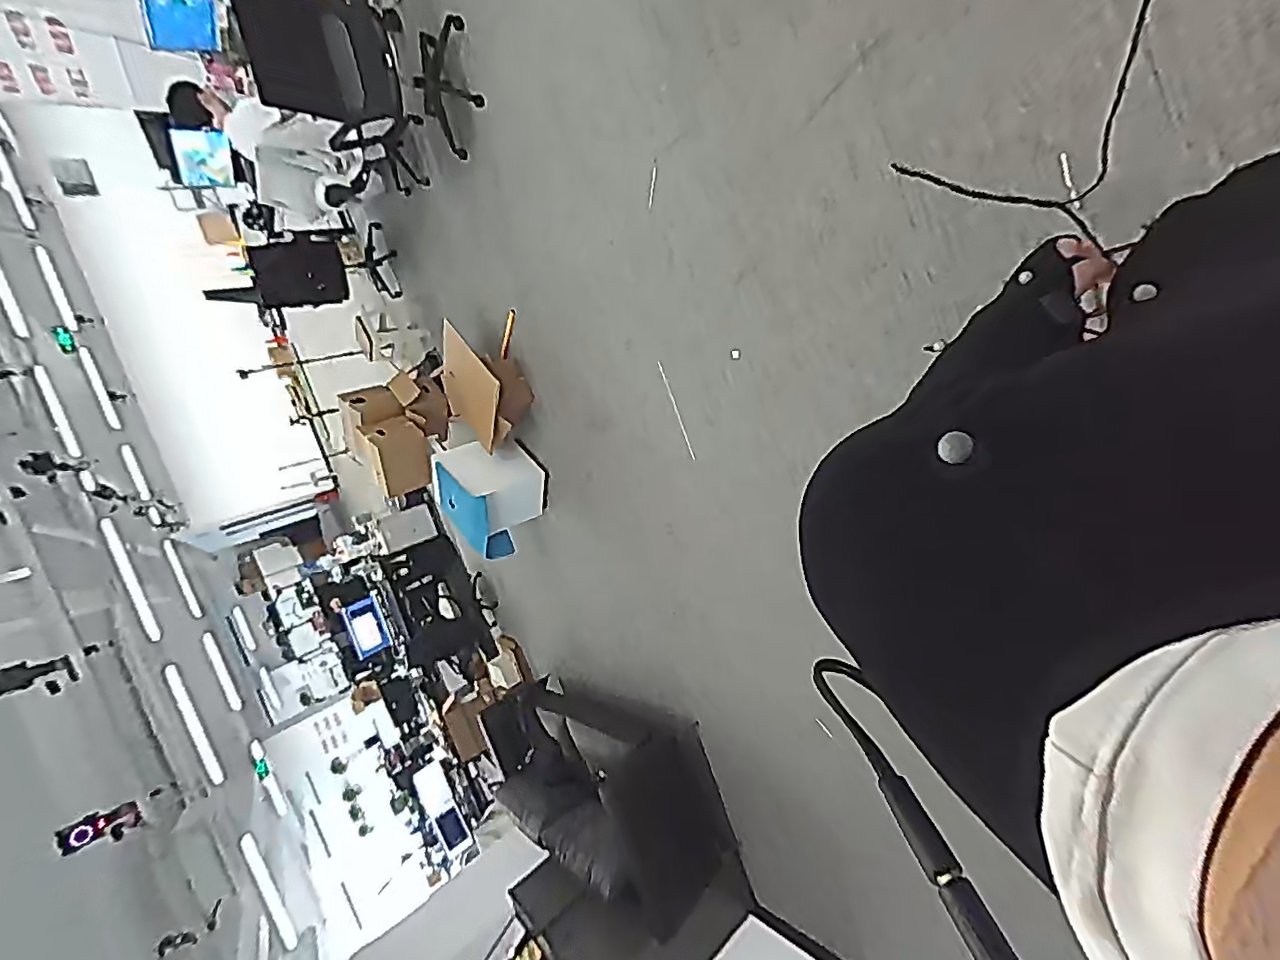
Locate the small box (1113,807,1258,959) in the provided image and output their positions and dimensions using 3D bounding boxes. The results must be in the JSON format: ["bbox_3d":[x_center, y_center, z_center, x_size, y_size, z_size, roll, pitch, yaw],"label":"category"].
[{"bbox_3d":[1.040,0.780,1.030,0.168,0.176,0.179,-4,104,54],"label":"small box"}]
